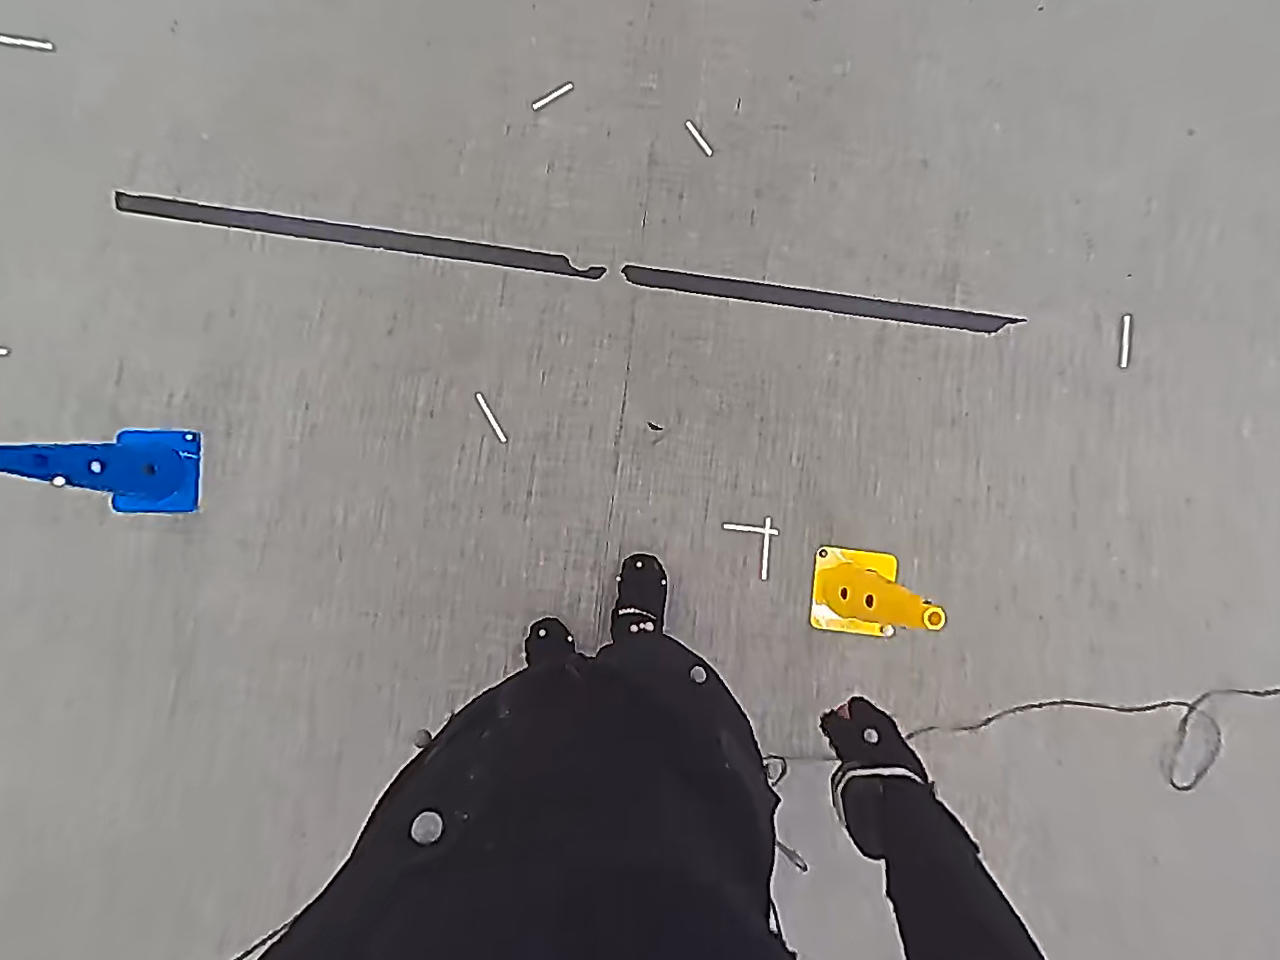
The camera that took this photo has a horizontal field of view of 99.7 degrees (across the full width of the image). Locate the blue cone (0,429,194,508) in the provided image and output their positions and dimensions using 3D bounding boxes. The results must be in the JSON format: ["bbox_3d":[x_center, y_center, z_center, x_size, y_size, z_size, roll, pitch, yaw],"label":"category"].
[{"bbox_3d":[-1.173,-0.041,1.140,0.193,0.380,0.192,2,86,-1],"label":"blue cone"}]
